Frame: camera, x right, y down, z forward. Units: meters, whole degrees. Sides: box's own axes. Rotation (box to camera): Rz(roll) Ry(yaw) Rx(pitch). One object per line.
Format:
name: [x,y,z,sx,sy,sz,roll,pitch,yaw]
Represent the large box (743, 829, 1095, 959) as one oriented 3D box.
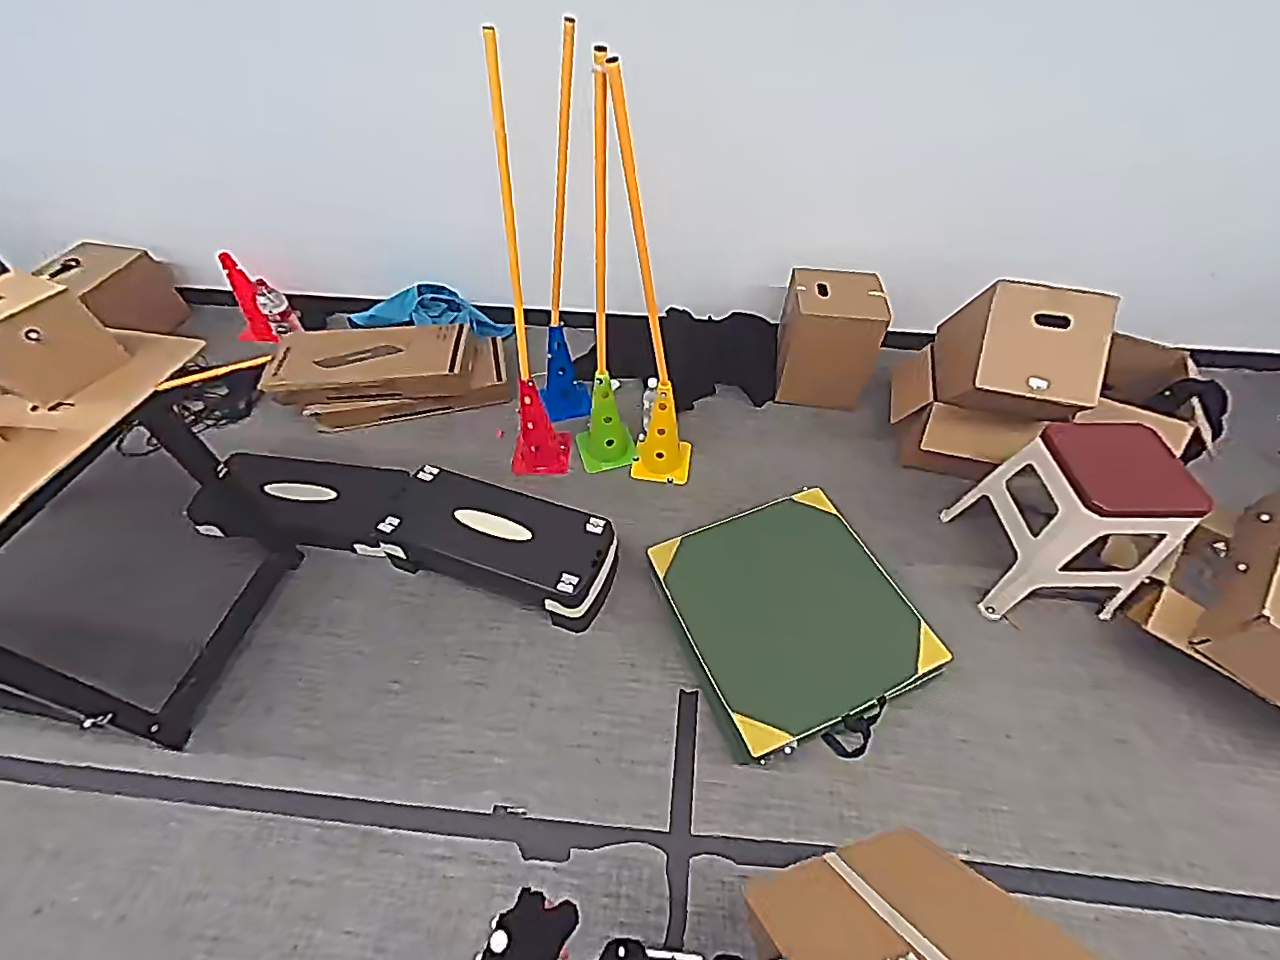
large box: [0.373,0.732,0.679,0.320,0.408,0.320,-12,83,-12]
